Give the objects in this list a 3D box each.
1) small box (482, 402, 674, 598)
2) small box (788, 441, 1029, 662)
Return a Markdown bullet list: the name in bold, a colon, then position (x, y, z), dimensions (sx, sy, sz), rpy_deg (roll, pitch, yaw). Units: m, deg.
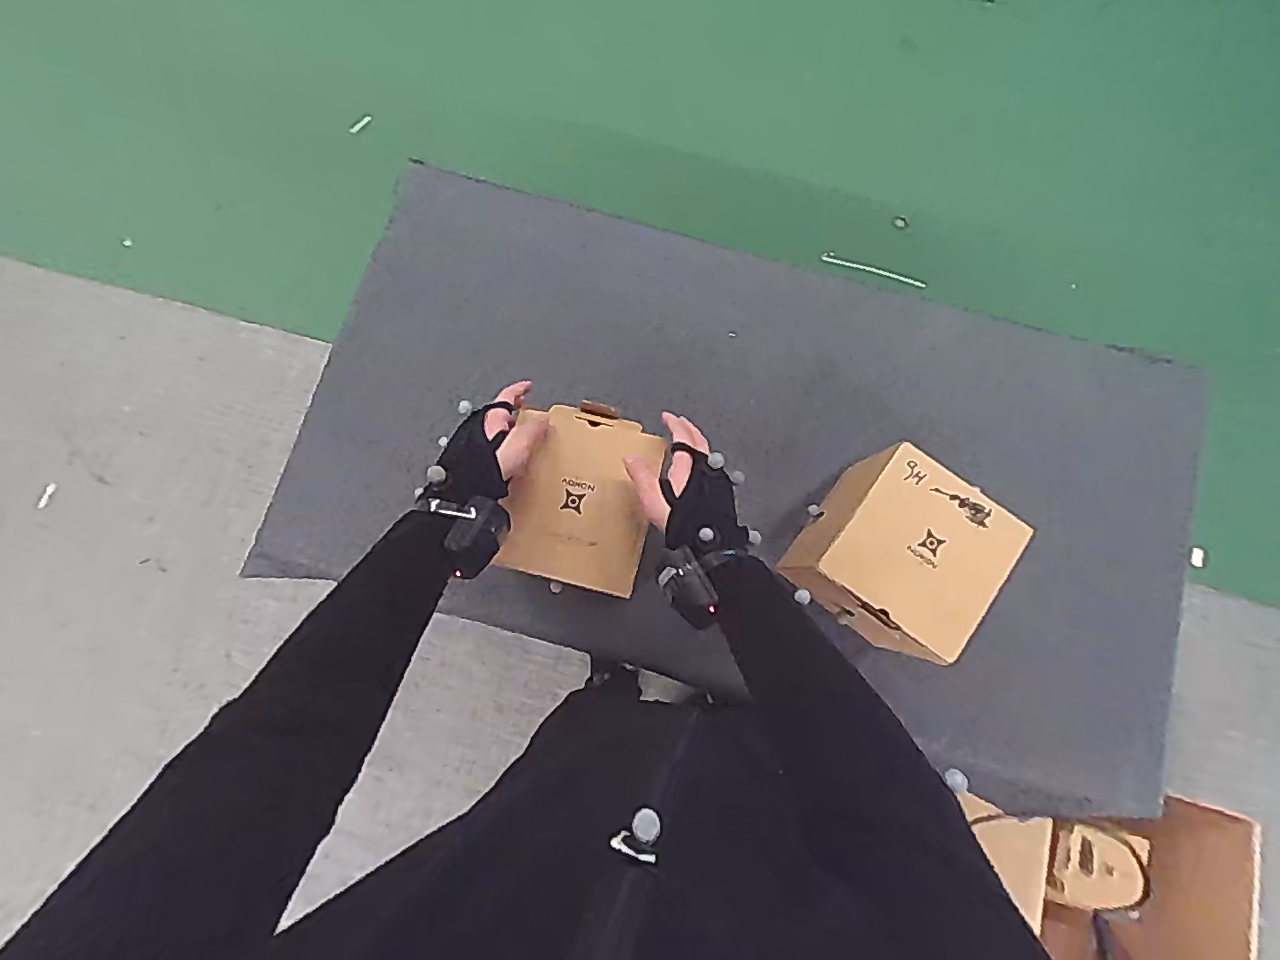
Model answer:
- **small box**: position (-0.064, 0.032, 0.638), dimensions (0.168, 0.176, 0.179), rpy_deg (13, 80, 2)
- **small box**: position (0.298, 0.085, 0.649), dimensions (0.168, 0.176, 0.179), rpy_deg (38, 83, 6)
